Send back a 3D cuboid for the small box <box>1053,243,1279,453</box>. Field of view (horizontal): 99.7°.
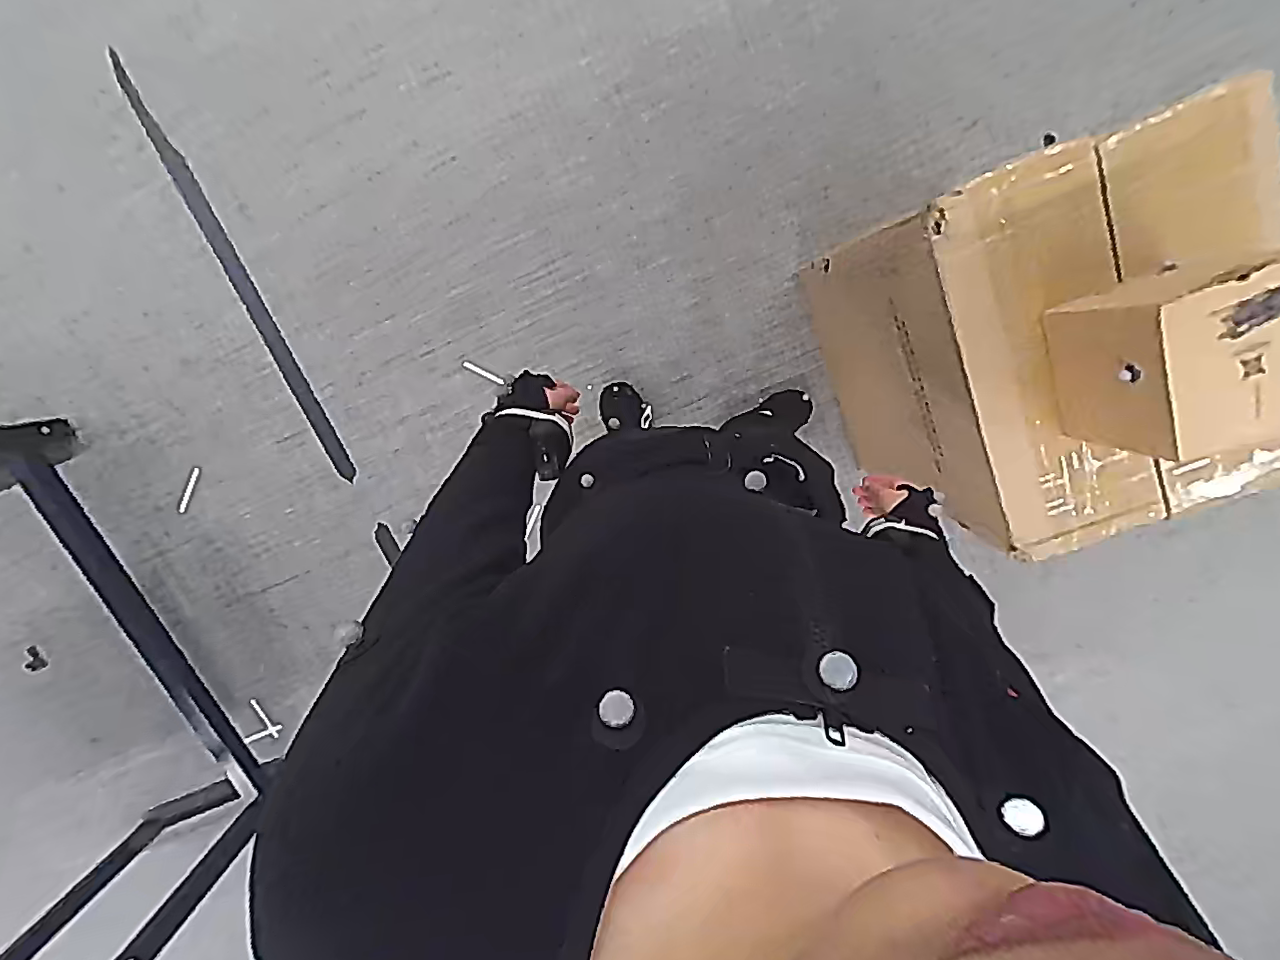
[{"bbox_3d":[0.618,-0.150,0.618,0.168,0.176,0.179,-20,103,7],"label":"small box"}]
